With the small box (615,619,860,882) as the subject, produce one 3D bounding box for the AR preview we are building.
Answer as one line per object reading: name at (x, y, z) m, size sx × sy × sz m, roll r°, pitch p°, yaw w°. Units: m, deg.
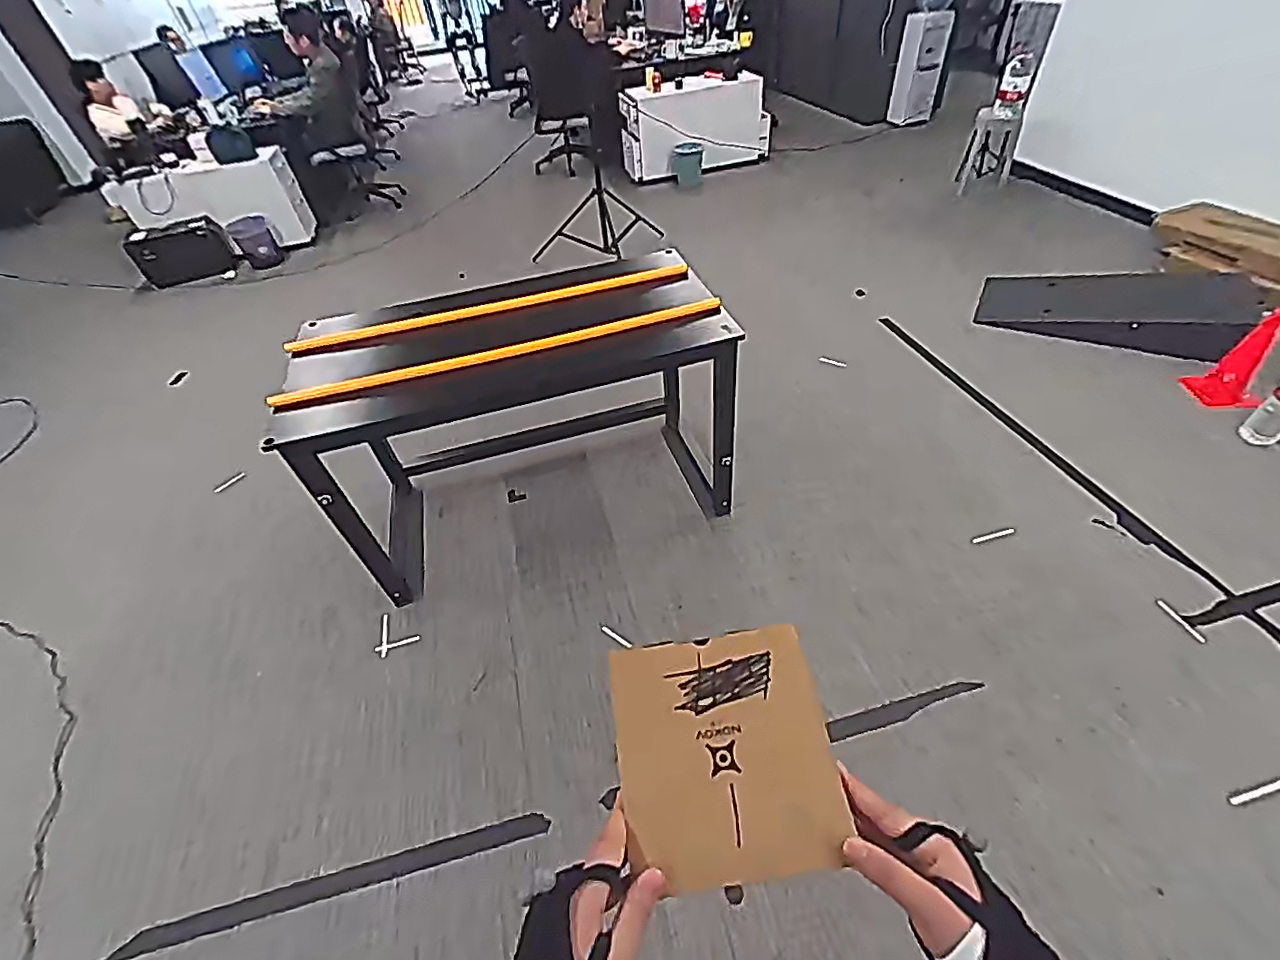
small box at (0.072, 0.250, 0.495) m, size 0.168 × 0.176 × 0.179 m, roll -9°, pitch 55°, yaw 0°
